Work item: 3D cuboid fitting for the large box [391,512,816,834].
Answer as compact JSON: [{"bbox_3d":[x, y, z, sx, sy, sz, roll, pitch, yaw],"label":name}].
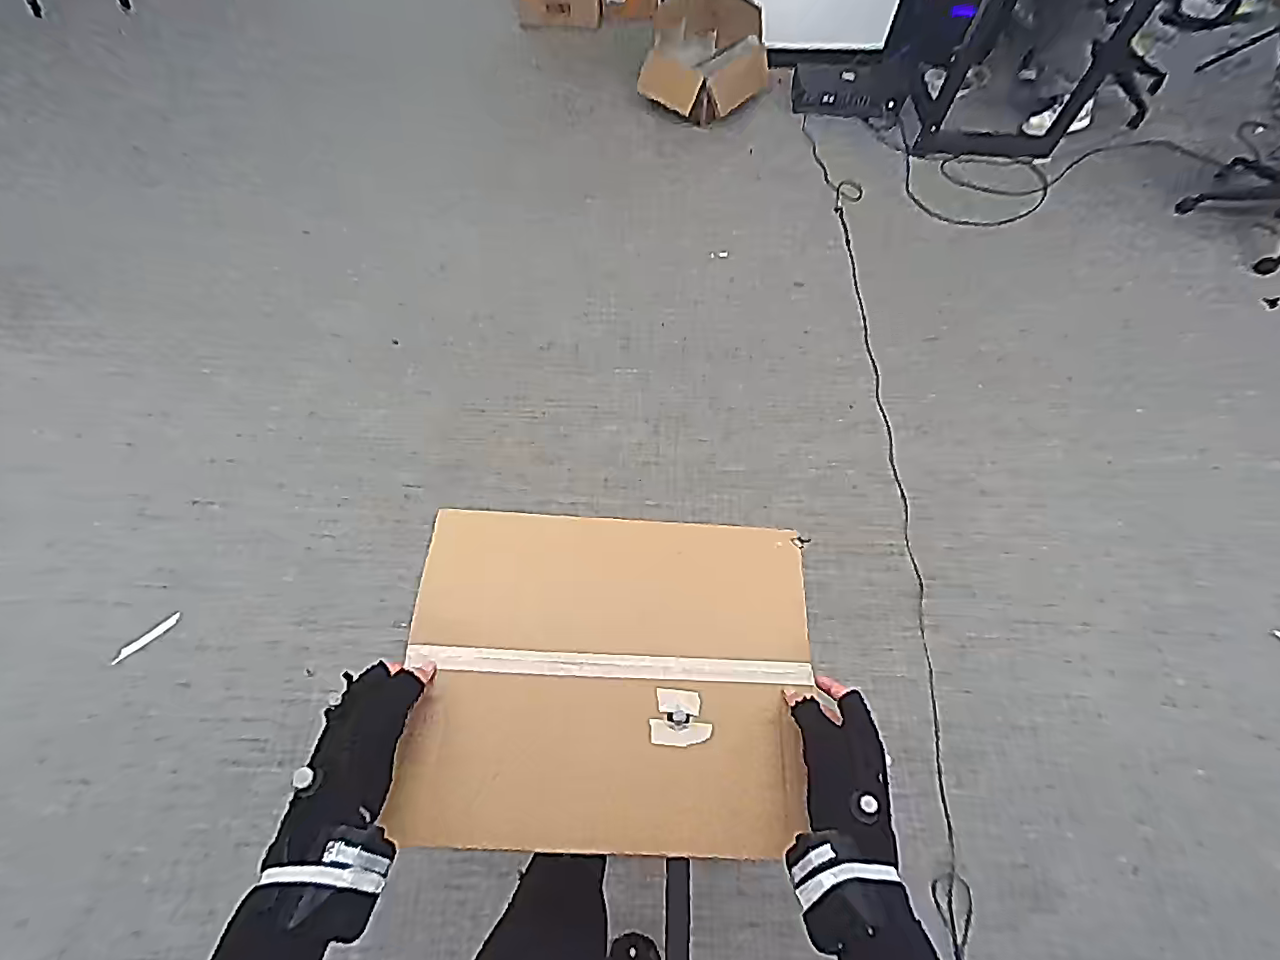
[{"bbox_3d":[-0.039,0.251,0.696,0.408,0.320,0.320,4,64,-3],"label":"large box"}]
